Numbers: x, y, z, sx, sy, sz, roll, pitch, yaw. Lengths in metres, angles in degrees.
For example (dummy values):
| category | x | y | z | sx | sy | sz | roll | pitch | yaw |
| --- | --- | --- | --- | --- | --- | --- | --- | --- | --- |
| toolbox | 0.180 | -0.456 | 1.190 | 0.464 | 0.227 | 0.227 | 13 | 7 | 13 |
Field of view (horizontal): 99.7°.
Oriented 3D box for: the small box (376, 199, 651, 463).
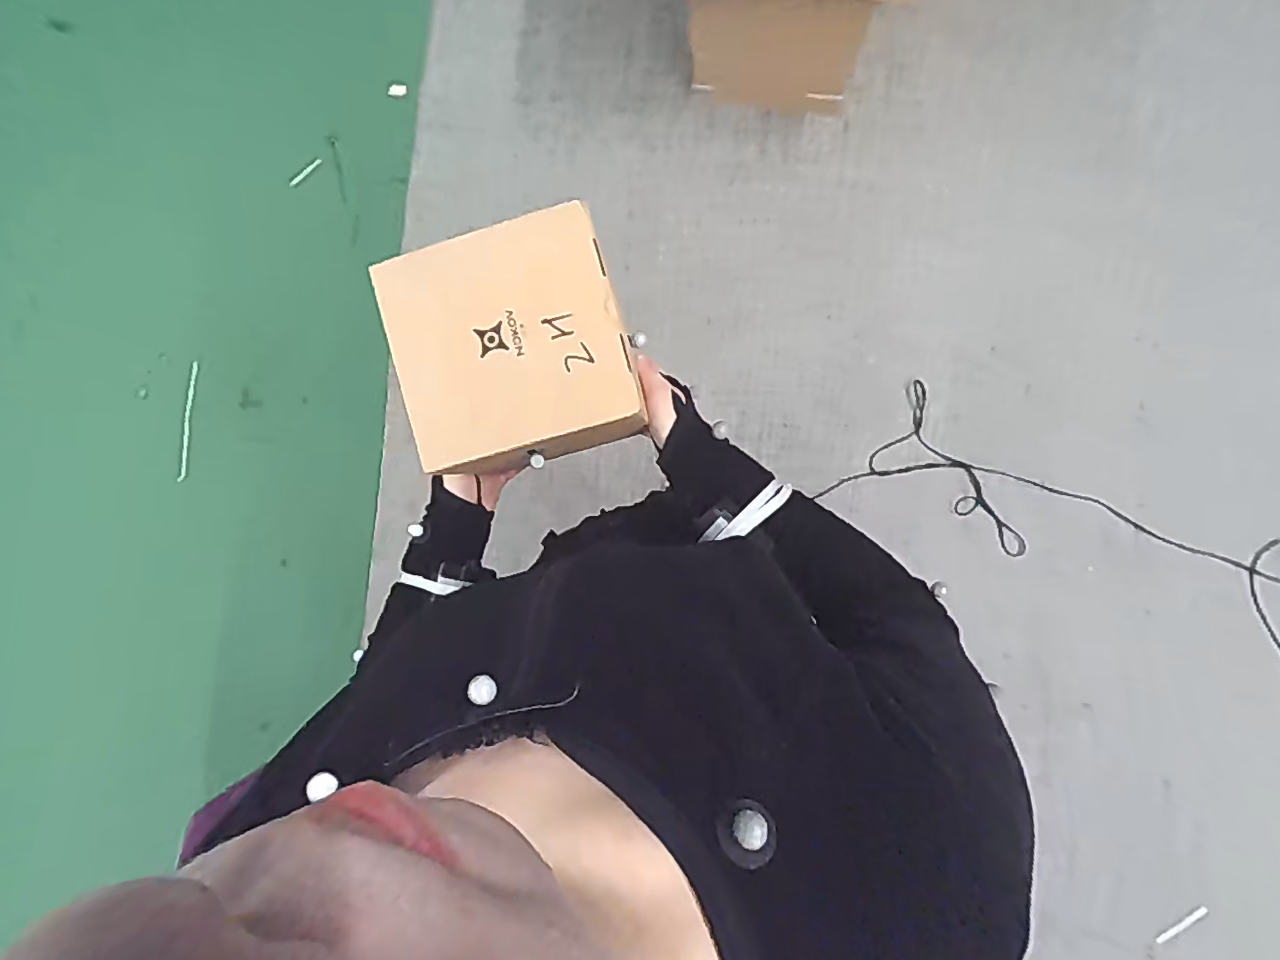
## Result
| category | x | y | z | sx | sy | sz | roll | pitch | yaw |
| --- | --- | --- | --- | --- | --- | --- | --- | --- | --- |
| small box | -0.094 | -0.112 | 0.485 | 0.179 | 0.176 | 0.168 | -14 | 91 | 4 |
